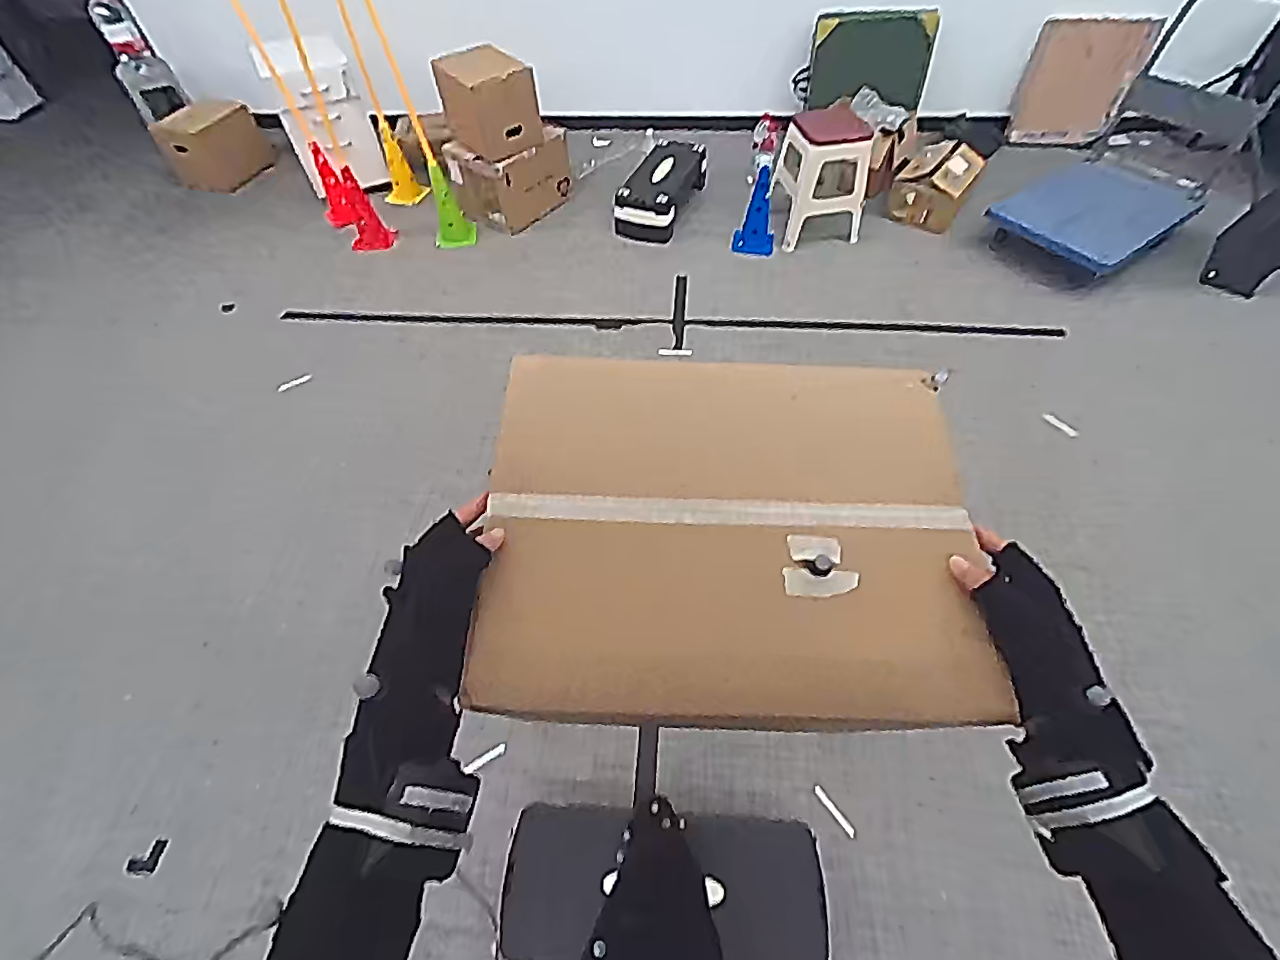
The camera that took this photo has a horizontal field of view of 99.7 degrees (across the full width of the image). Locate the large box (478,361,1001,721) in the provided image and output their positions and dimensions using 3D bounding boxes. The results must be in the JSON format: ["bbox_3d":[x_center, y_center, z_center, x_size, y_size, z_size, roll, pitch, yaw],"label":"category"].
[{"bbox_3d":[0.070,0.091,0.599,0.408,0.320,0.320,2,64,-2],"label":"large box"}]
